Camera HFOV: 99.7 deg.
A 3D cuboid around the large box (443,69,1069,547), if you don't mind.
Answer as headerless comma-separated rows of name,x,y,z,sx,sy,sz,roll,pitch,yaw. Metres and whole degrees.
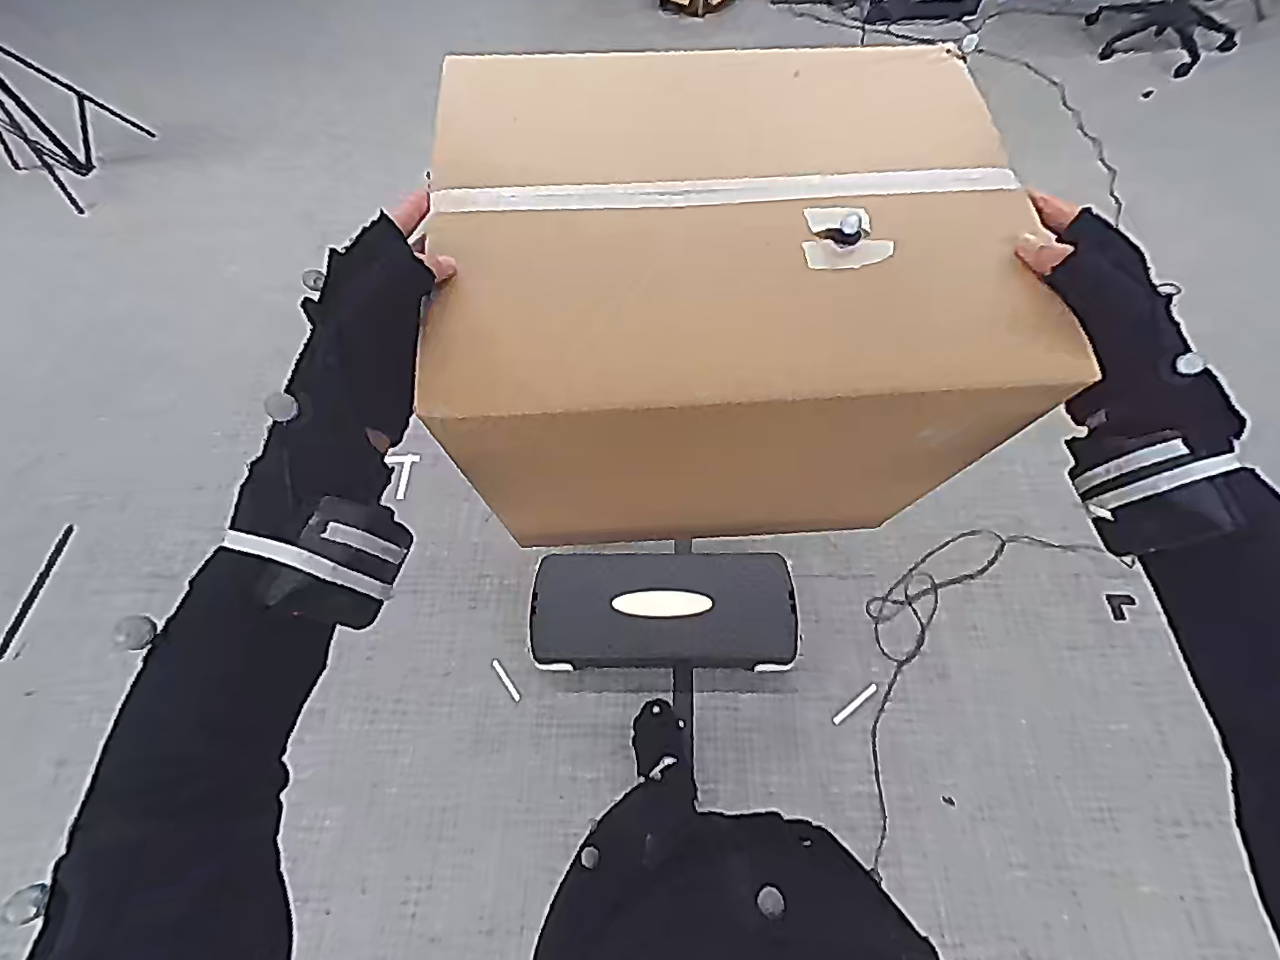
large box,0.059,-0.135,0.523,0.408,0.320,0.320,-4,69,-3
